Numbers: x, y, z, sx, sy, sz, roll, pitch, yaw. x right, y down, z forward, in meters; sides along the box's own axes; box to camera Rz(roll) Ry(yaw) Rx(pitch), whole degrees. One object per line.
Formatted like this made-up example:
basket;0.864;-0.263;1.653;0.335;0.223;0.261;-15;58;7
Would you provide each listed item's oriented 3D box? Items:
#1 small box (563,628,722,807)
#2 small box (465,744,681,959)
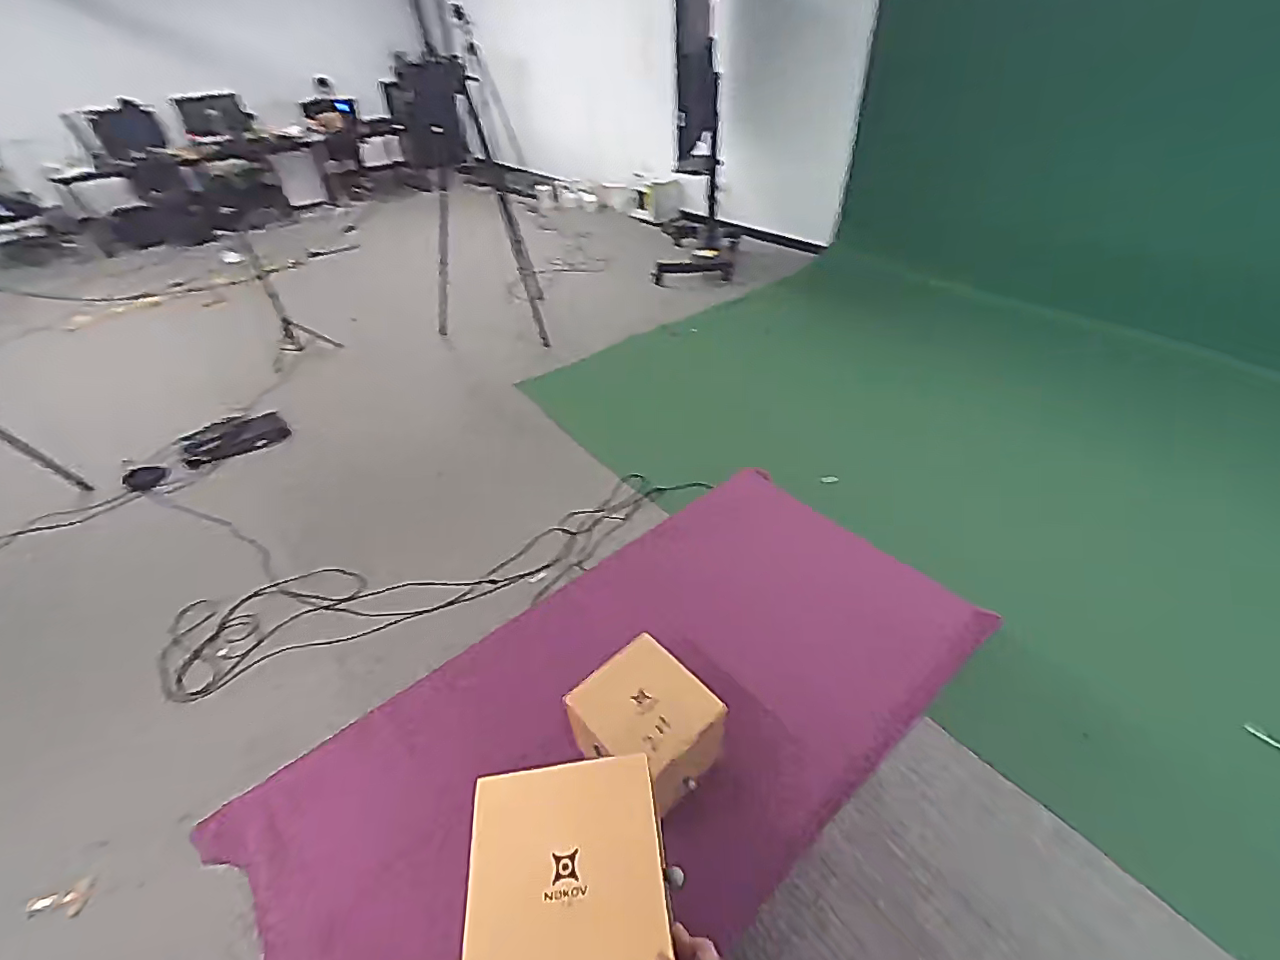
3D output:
small box;0.005;0.374;0.833;0.168;0.176;0.179;-32;48;-28
small box;-0.053;0.378;0.507;0.168;0.176;0.179;-7;45;-2
